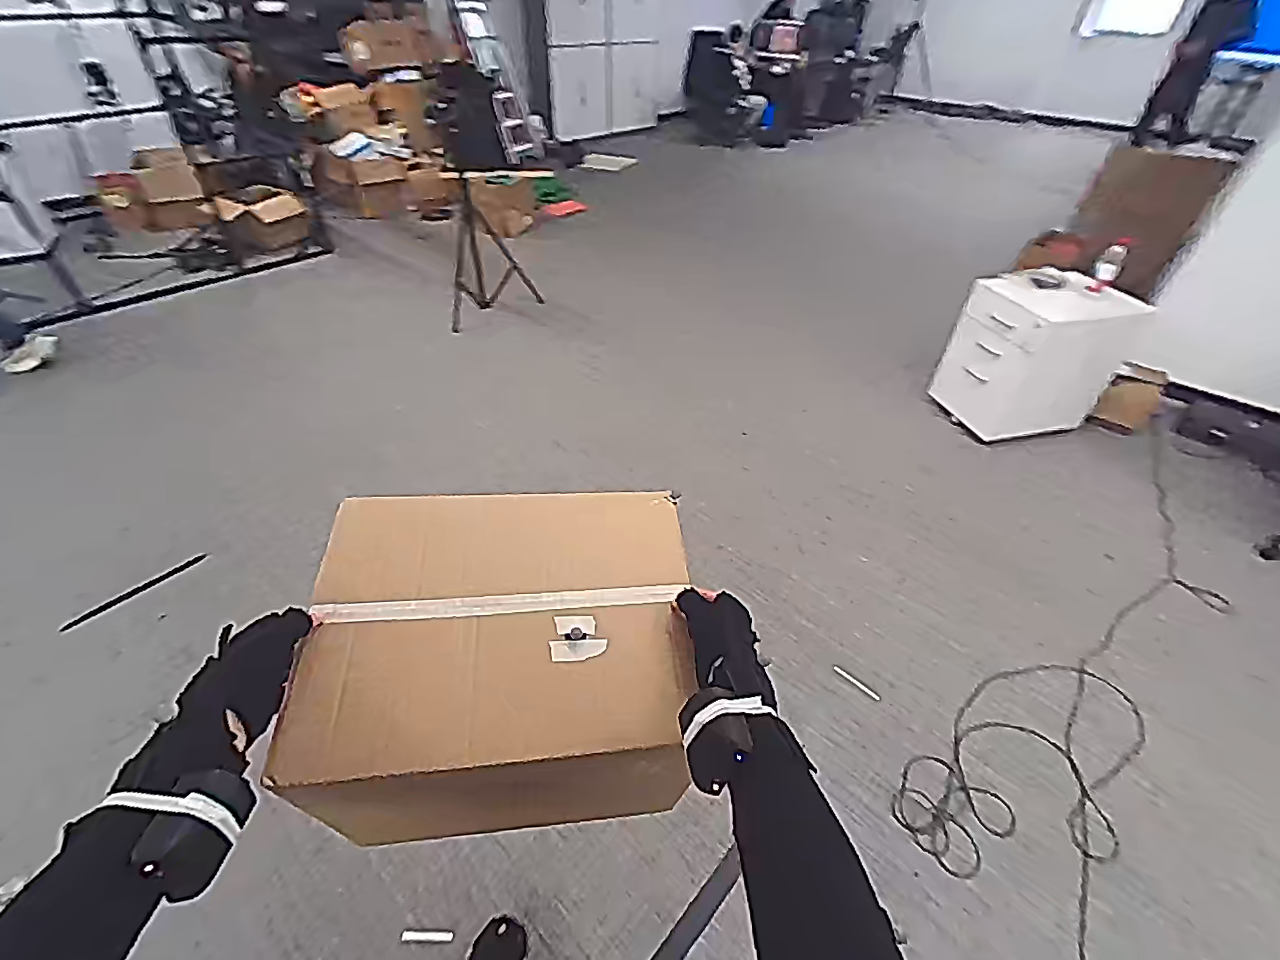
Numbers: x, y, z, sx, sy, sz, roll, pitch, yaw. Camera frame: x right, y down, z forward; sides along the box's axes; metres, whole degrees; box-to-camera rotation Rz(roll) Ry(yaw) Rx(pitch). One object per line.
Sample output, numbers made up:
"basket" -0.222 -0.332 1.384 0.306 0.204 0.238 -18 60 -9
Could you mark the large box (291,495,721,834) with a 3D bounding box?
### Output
"large box" -0.151 0.235 0.711 0.408 0.320 0.320 0 49 -10
